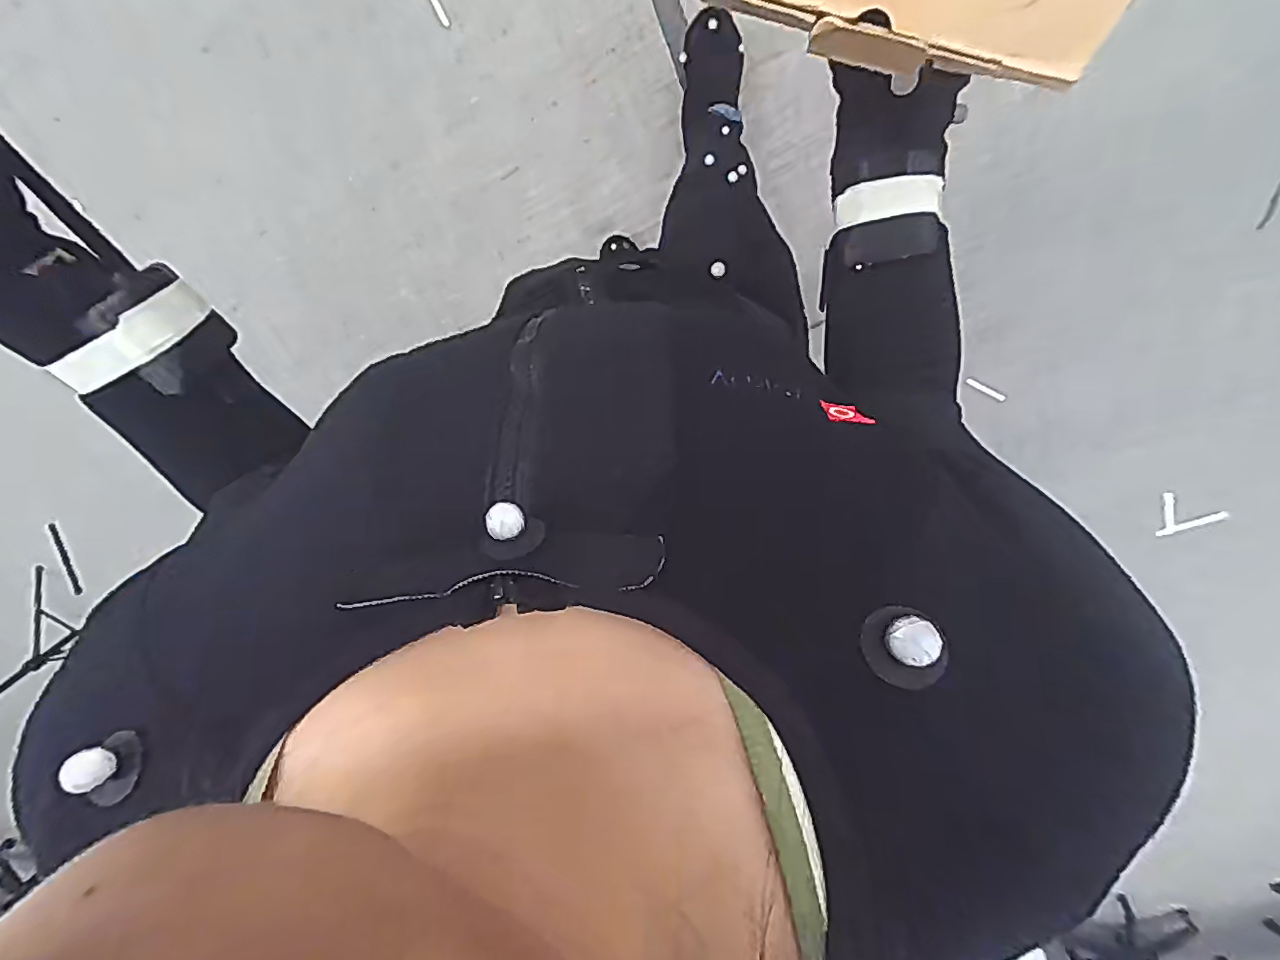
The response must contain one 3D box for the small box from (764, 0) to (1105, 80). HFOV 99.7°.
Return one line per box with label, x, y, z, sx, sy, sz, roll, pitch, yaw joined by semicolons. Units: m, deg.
small box;0.120;-0.293;0.215;0.168;0.176;0.179;16;131;-1
